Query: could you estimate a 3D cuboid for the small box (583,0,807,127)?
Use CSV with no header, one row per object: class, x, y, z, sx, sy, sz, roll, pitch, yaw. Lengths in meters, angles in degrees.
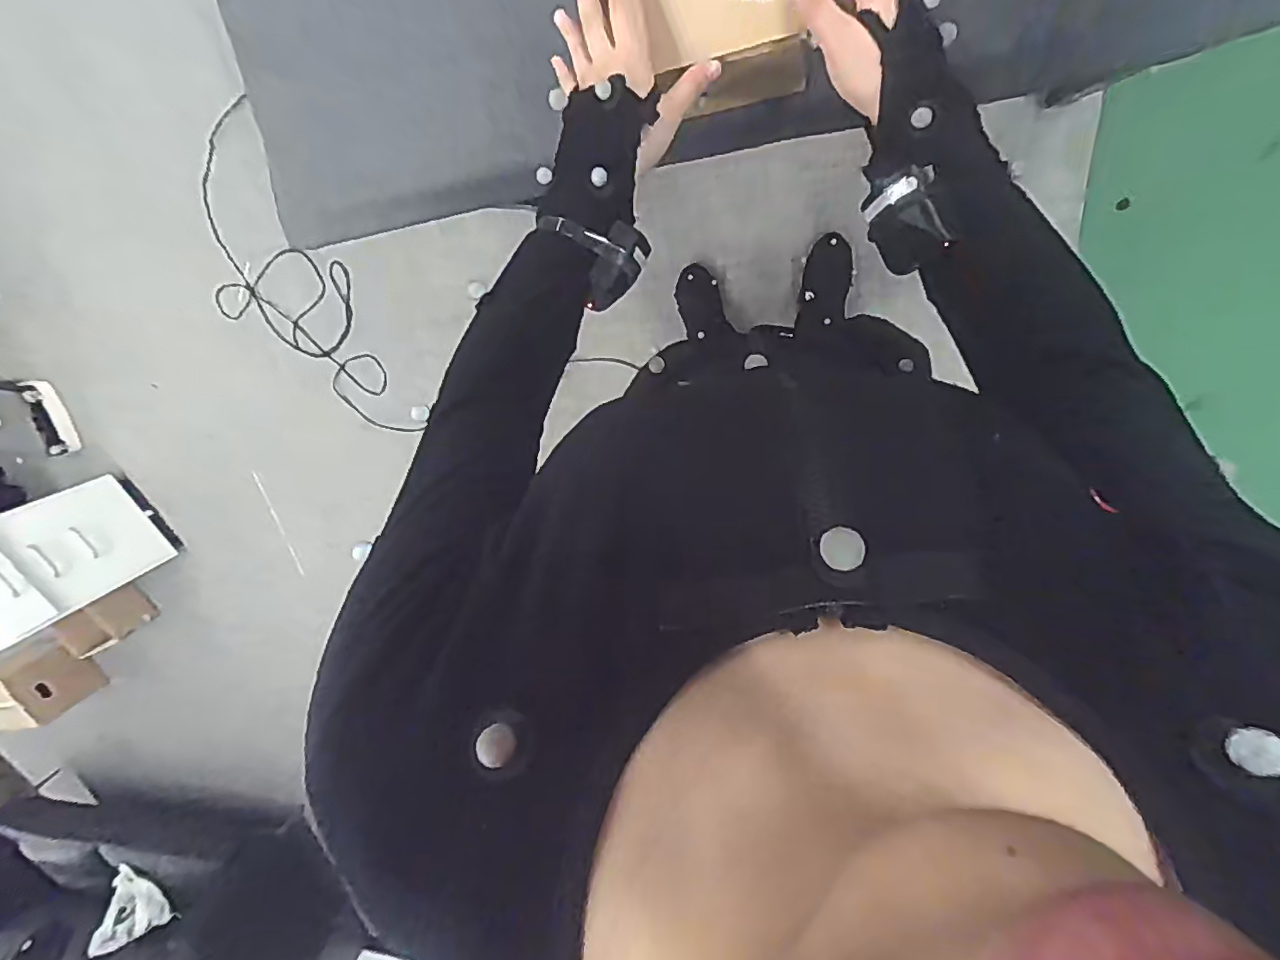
small box,0.055,-0.437,0.482,0.179,0.176,0.168,-1,113,19
